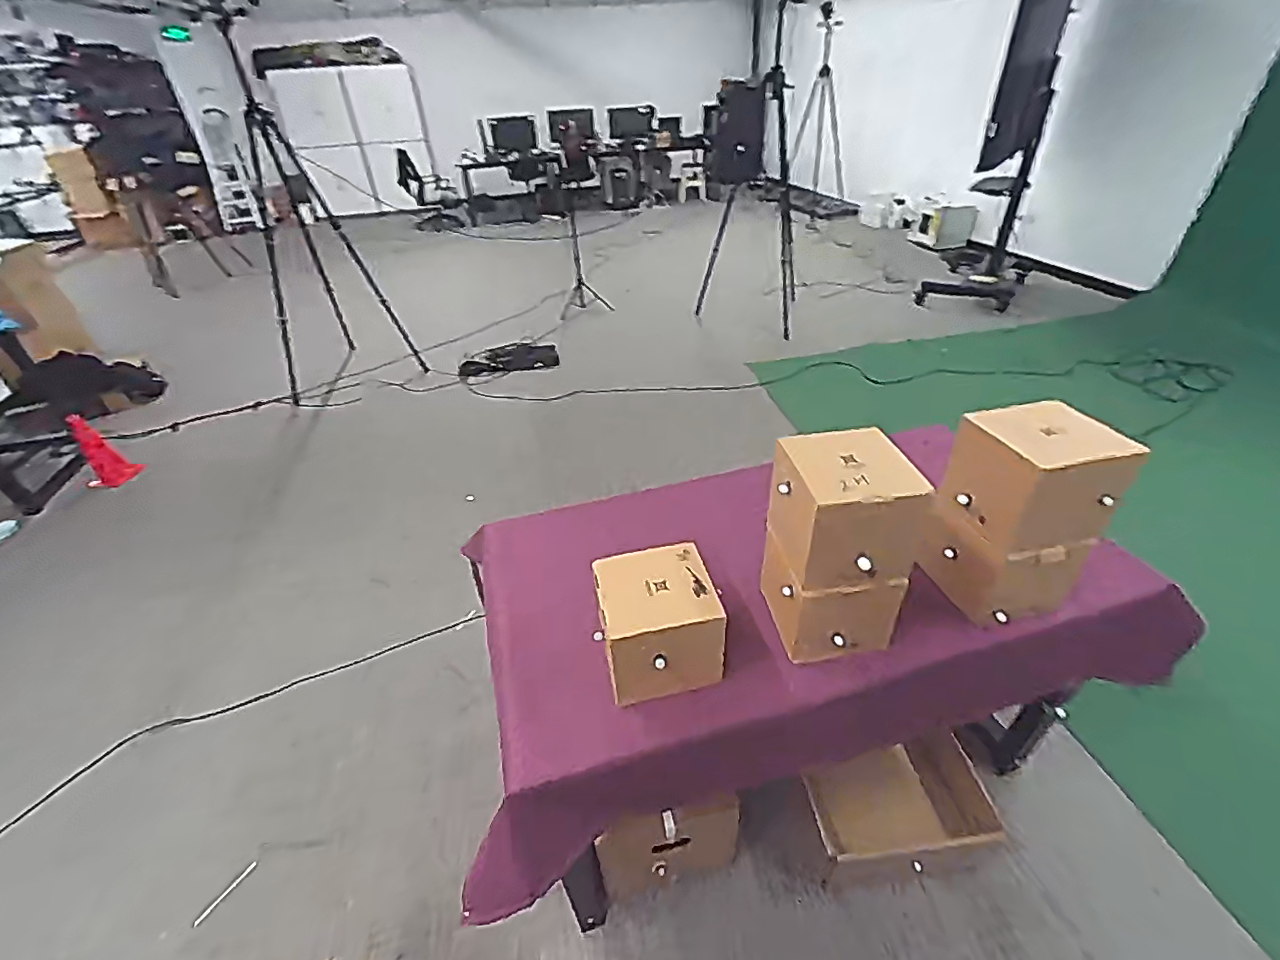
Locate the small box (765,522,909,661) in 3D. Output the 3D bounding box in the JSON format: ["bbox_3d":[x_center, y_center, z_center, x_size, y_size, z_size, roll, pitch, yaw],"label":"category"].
[{"bbox_3d":[0.320,0.180,0.924,0.168,0.176,0.179,-7,37,-4],"label":"small box"}]

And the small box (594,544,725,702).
[{"bbox_3d":[0.031,0.232,0.878,0.179,0.176,0.168,-10,38,-7],"label":"small box"}]

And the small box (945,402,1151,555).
[{"bbox_3d":[0.630,-0.004,0.864,0.179,0.176,0.168,-10,36,-6],"label":"small box"}]

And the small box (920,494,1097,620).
[{"bbox_3d":[0.636,0.129,0.958,0.168,0.176,0.179,-10,36,-7],"label":"small box"}]

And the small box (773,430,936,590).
[{"bbox_3d":[0.311,0.044,0.831,0.168,0.176,0.179,-7,37,-3],"label":"small box"}]
